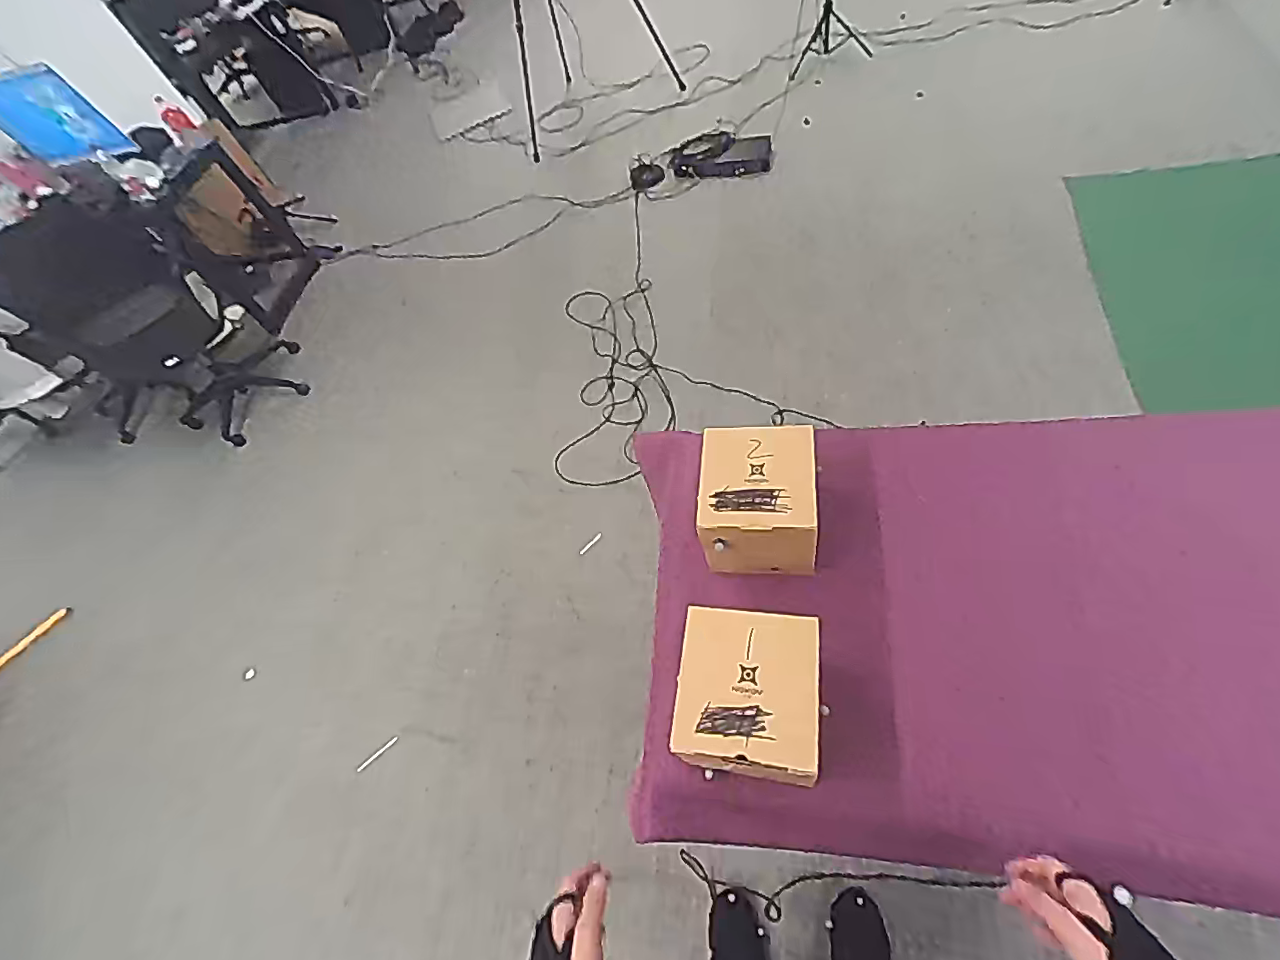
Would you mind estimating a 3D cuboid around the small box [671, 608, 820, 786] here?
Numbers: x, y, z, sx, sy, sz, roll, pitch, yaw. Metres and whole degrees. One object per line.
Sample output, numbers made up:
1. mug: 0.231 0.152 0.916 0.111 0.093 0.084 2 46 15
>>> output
1. small box: 0.146 0.286 0.706 0.168 0.176 0.179 2 58 16
